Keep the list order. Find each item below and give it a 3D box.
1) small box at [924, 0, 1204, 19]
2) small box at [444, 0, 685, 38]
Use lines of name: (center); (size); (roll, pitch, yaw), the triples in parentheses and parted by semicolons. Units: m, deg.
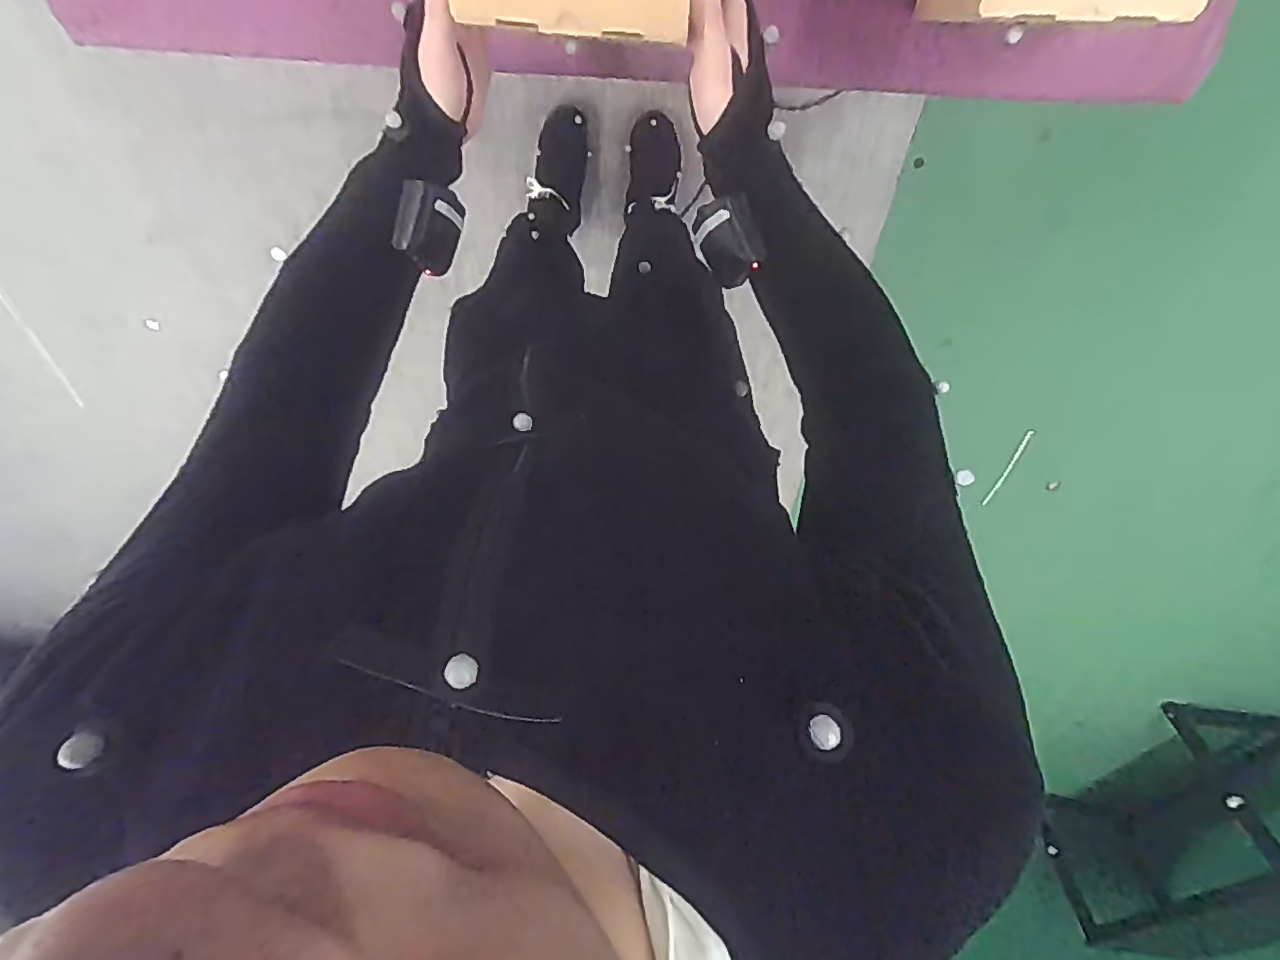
small box: (0.343, -0.471, 0.412); (0.168, 0.176, 0.179); (5, 131, 3)
small box: (-0.045, -0.429, 0.377); (0.168, 0.176, 0.179); (4, 130, -1)
